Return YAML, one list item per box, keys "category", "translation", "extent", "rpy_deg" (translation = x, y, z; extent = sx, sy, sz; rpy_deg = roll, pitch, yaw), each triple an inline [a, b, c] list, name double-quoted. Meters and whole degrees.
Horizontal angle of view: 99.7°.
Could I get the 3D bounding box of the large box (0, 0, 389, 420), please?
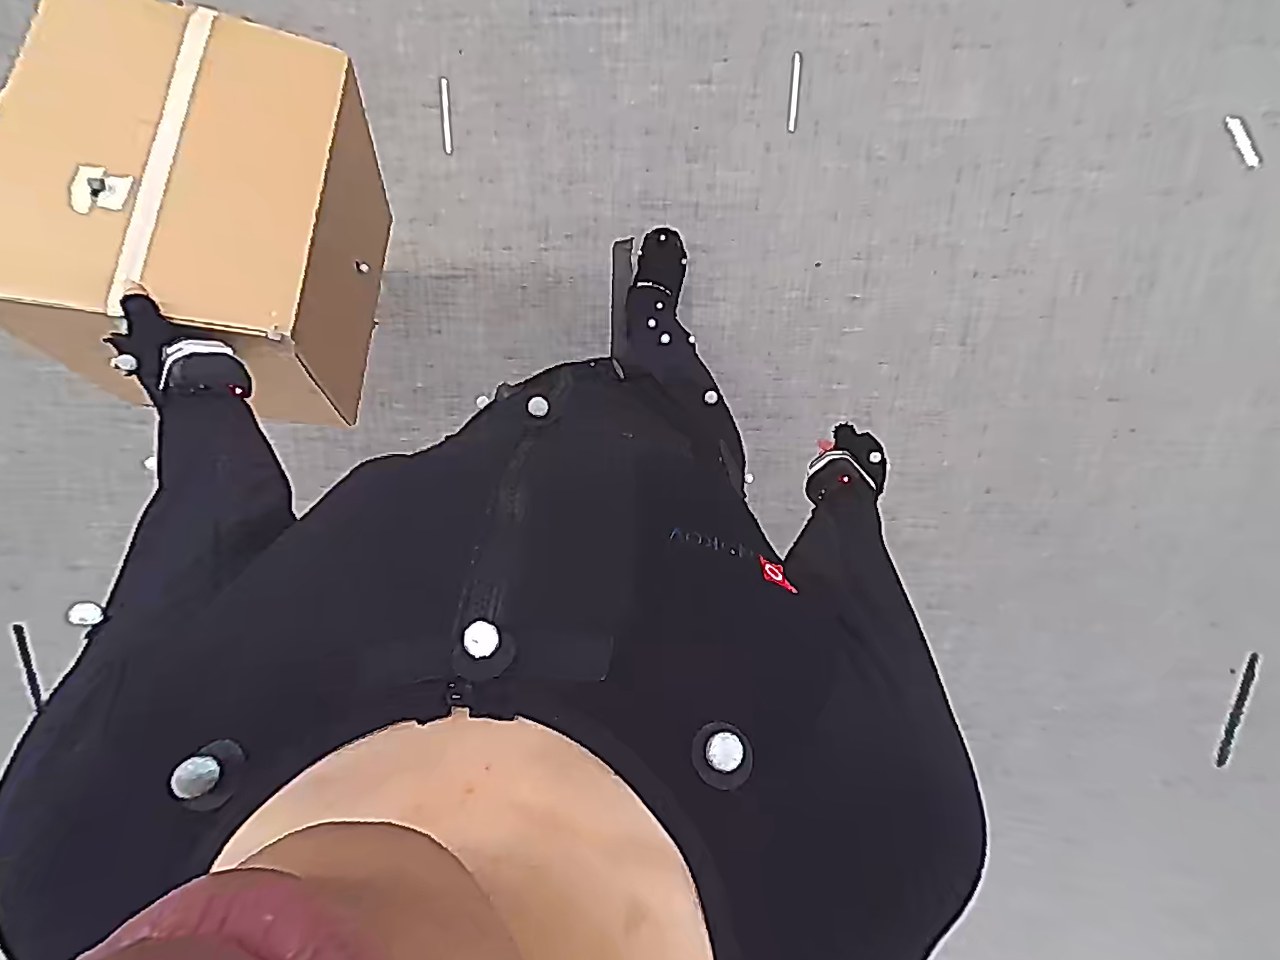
- category: "large box"
  translation: [-0.569, -0.336, 0.771]
  extent: [0.320, 0.320, 0.408]
  rpy_deg: [5, 76, -12]
